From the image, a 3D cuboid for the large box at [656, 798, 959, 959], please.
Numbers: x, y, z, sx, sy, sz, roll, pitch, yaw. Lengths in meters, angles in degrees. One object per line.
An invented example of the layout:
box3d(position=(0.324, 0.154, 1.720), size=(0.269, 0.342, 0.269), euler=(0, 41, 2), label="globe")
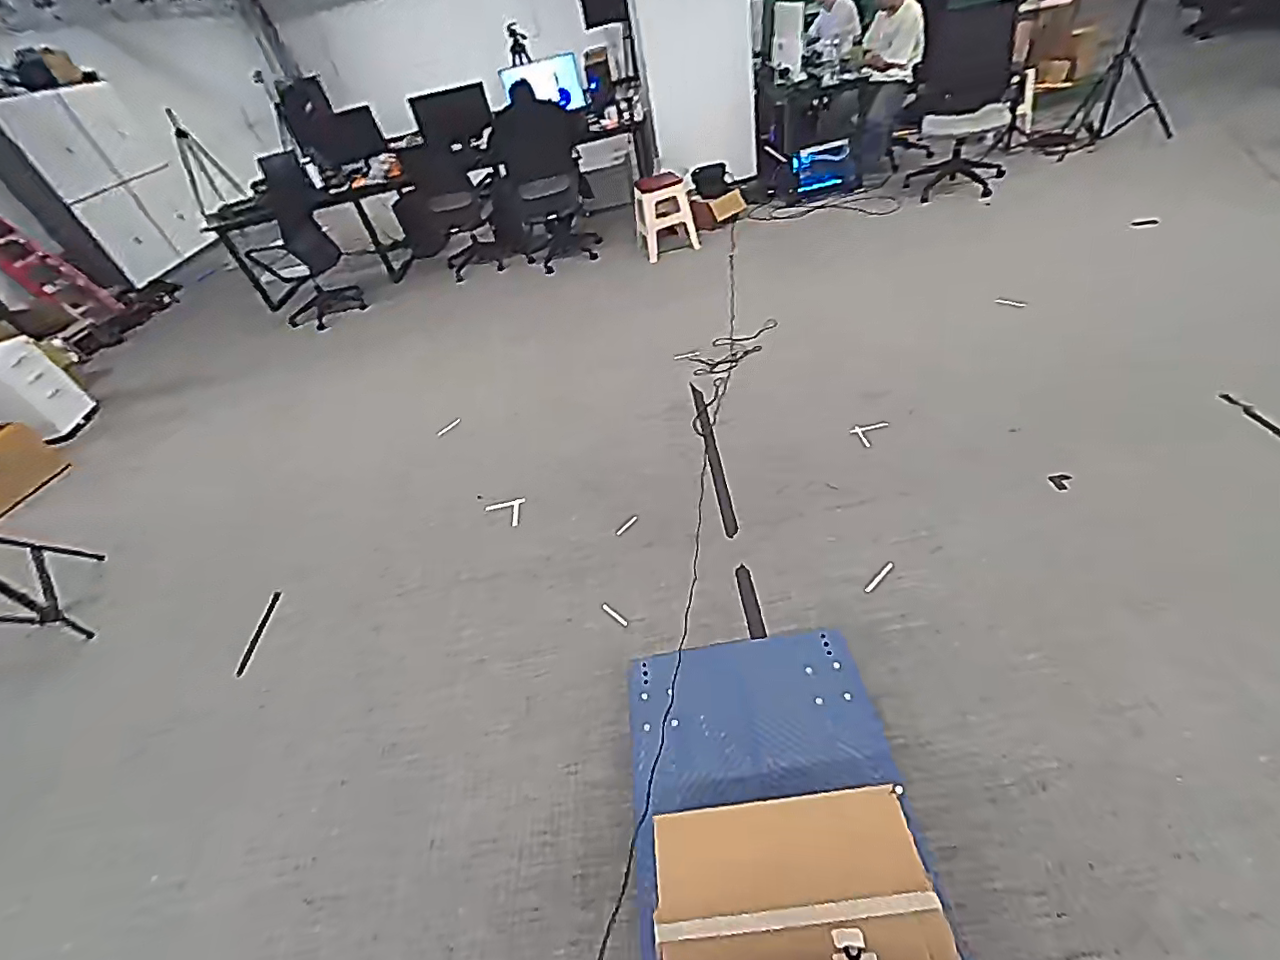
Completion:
box3d(position=(0.255, 0.757, 0.864), size=(0.408, 0.320, 0.320), euler=(-10, 42, 5), label="large box")
